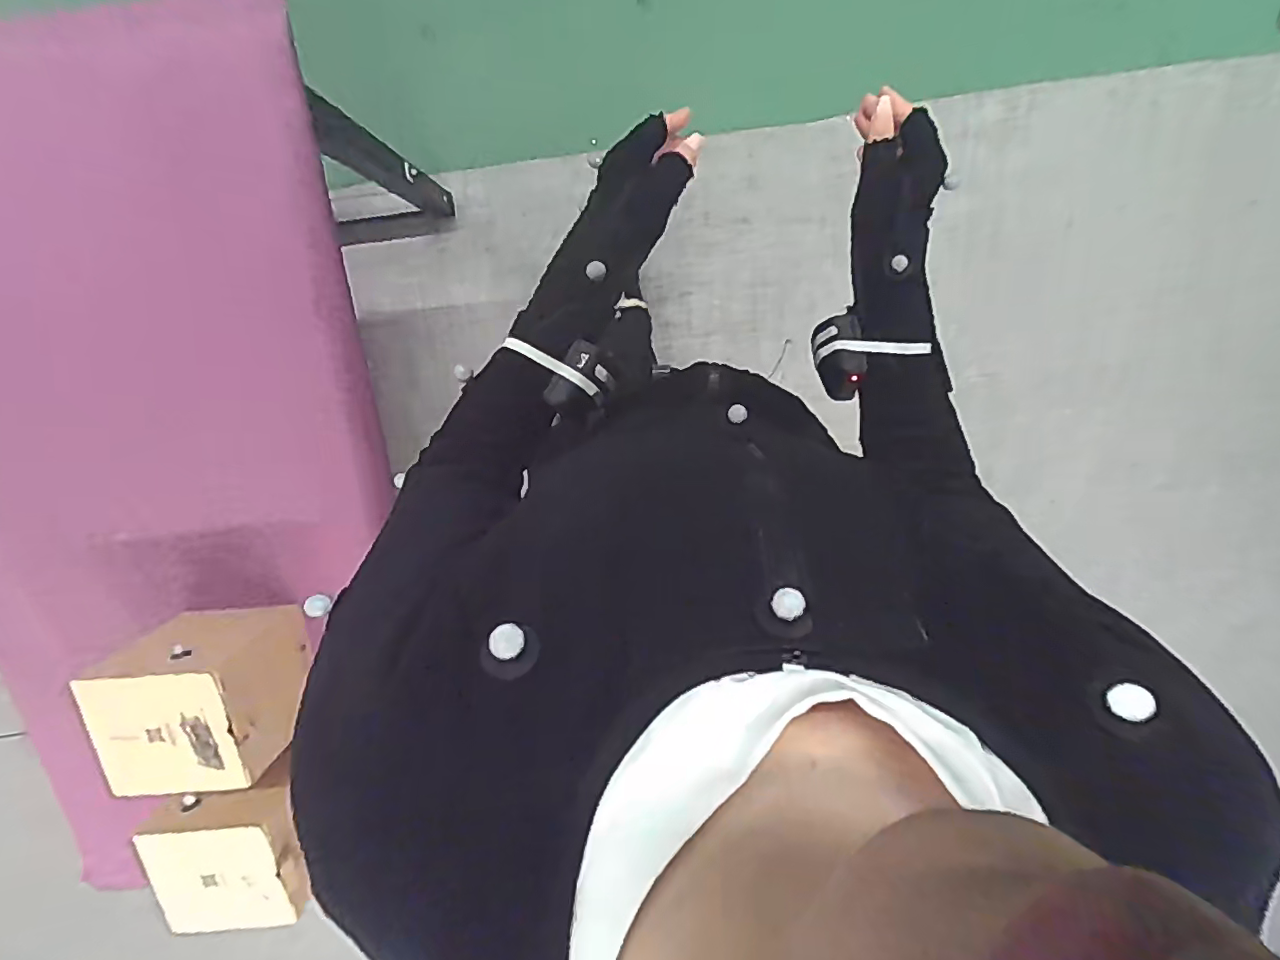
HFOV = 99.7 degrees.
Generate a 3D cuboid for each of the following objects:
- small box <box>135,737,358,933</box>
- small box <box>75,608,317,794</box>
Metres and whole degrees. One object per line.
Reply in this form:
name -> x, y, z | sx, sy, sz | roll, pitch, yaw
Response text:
small box -> -0.545, 0.497, 0.776 | 0.179, 0.176, 0.168 | -6, 104, 2
small box -> -0.566, 0.284, 0.724 | 0.179, 0.176, 0.168 | -4, 104, 2
